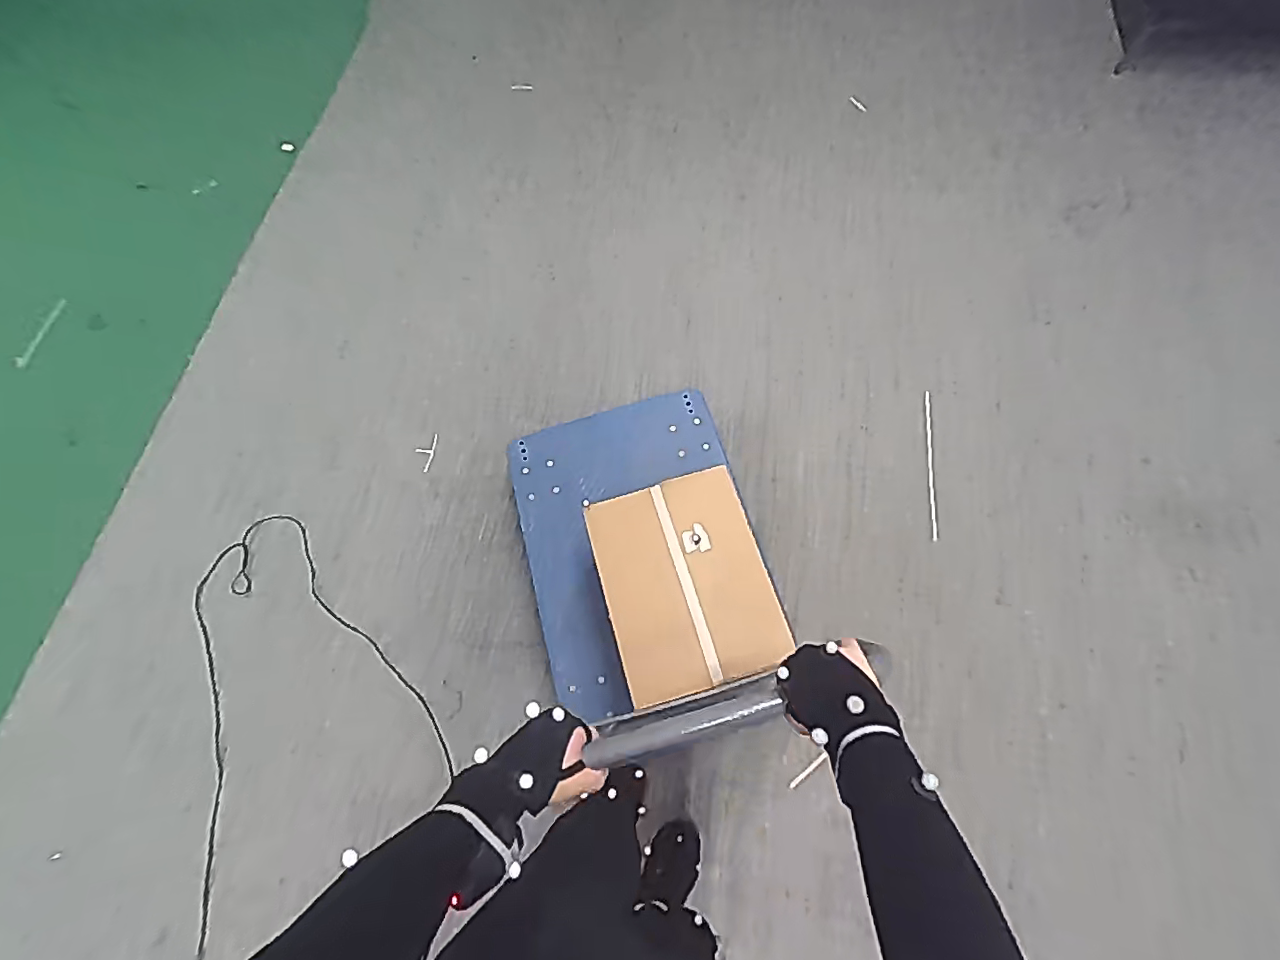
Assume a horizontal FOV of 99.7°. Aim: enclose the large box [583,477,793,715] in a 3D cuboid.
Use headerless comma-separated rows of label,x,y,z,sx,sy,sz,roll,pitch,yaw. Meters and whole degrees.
large box,0.096,0.267,1.198,0.320,0.320,0.408,-17,67,-3
